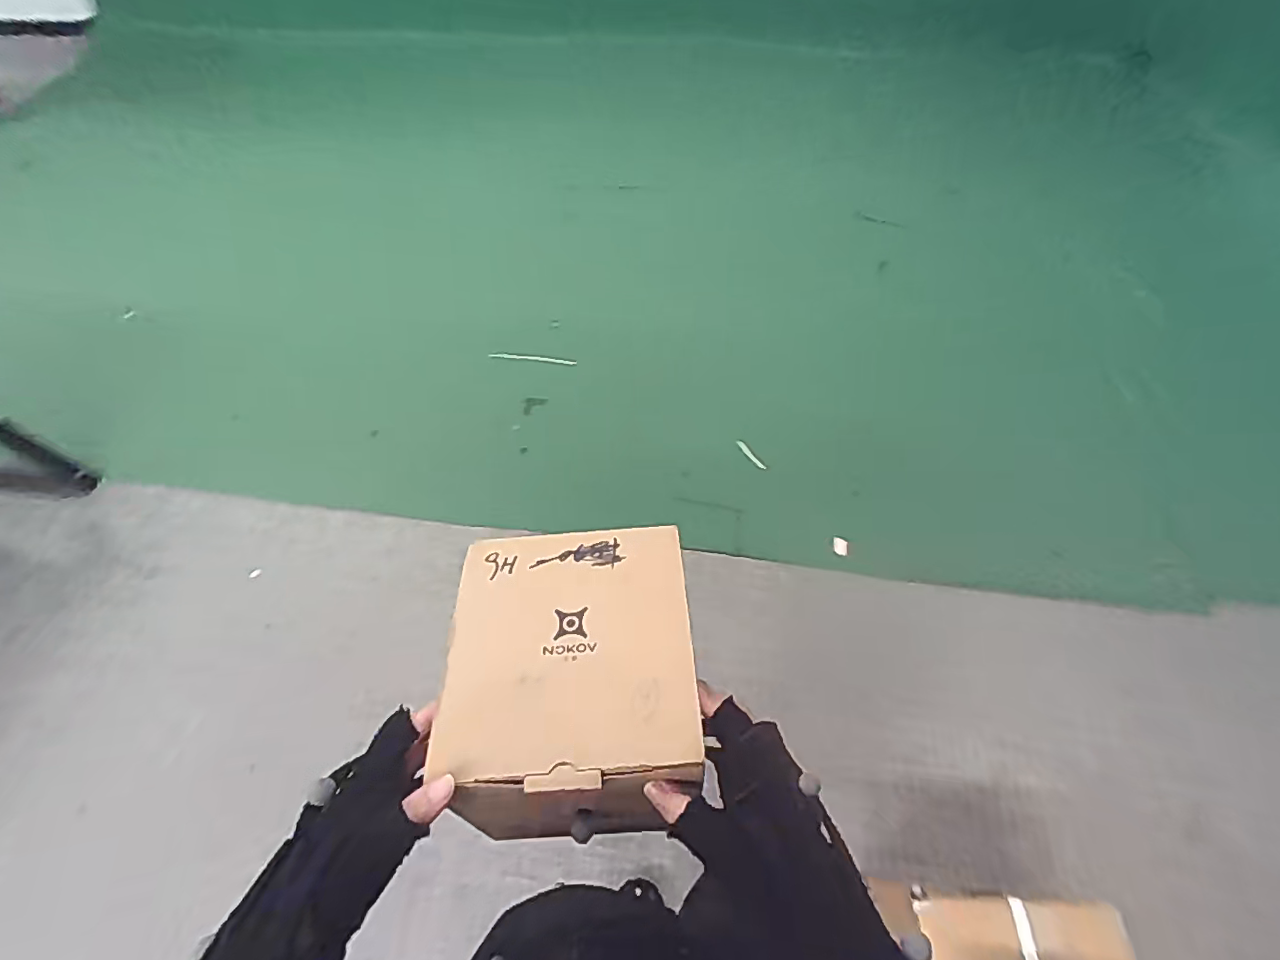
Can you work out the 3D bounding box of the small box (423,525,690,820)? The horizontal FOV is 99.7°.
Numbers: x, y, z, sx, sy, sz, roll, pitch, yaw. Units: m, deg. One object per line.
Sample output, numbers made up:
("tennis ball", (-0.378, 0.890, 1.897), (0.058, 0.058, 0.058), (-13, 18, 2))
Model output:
("small box", (-0.050, 0.161, 0.437), (0.168, 0.176, 0.179), (-6, 49, 0))
